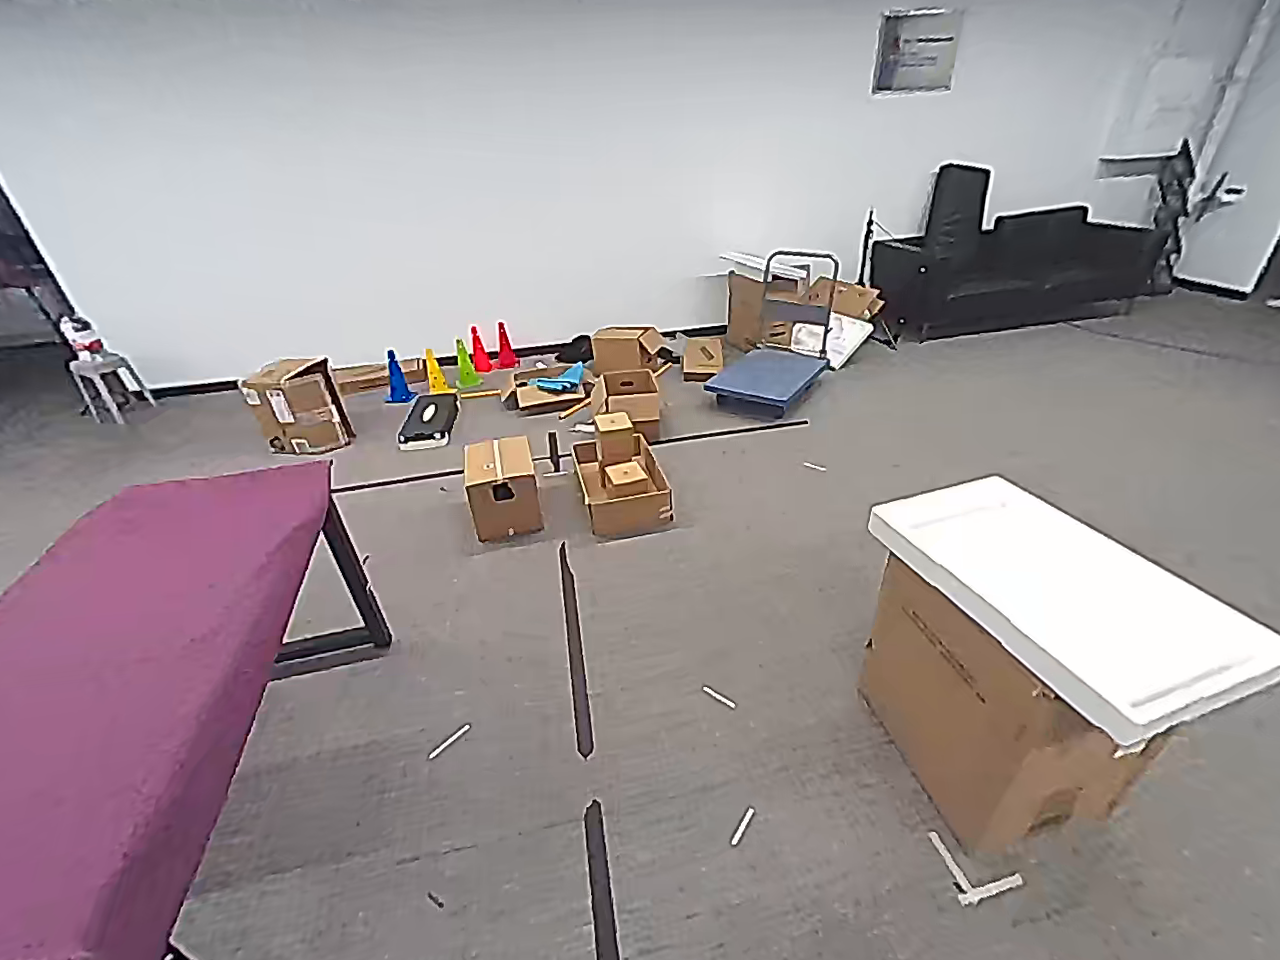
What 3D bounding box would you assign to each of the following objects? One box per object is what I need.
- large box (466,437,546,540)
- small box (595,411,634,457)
[{"bbox_3d":[-0.656,0.034,2.640,0.320,0.320,0.408,-12,34,-12],"label":"large box"},{"bbox_3d":[-0.128,-0.227,2.738,0.168,0.176,0.179,-8,34,-11],"label":"small box"}]
